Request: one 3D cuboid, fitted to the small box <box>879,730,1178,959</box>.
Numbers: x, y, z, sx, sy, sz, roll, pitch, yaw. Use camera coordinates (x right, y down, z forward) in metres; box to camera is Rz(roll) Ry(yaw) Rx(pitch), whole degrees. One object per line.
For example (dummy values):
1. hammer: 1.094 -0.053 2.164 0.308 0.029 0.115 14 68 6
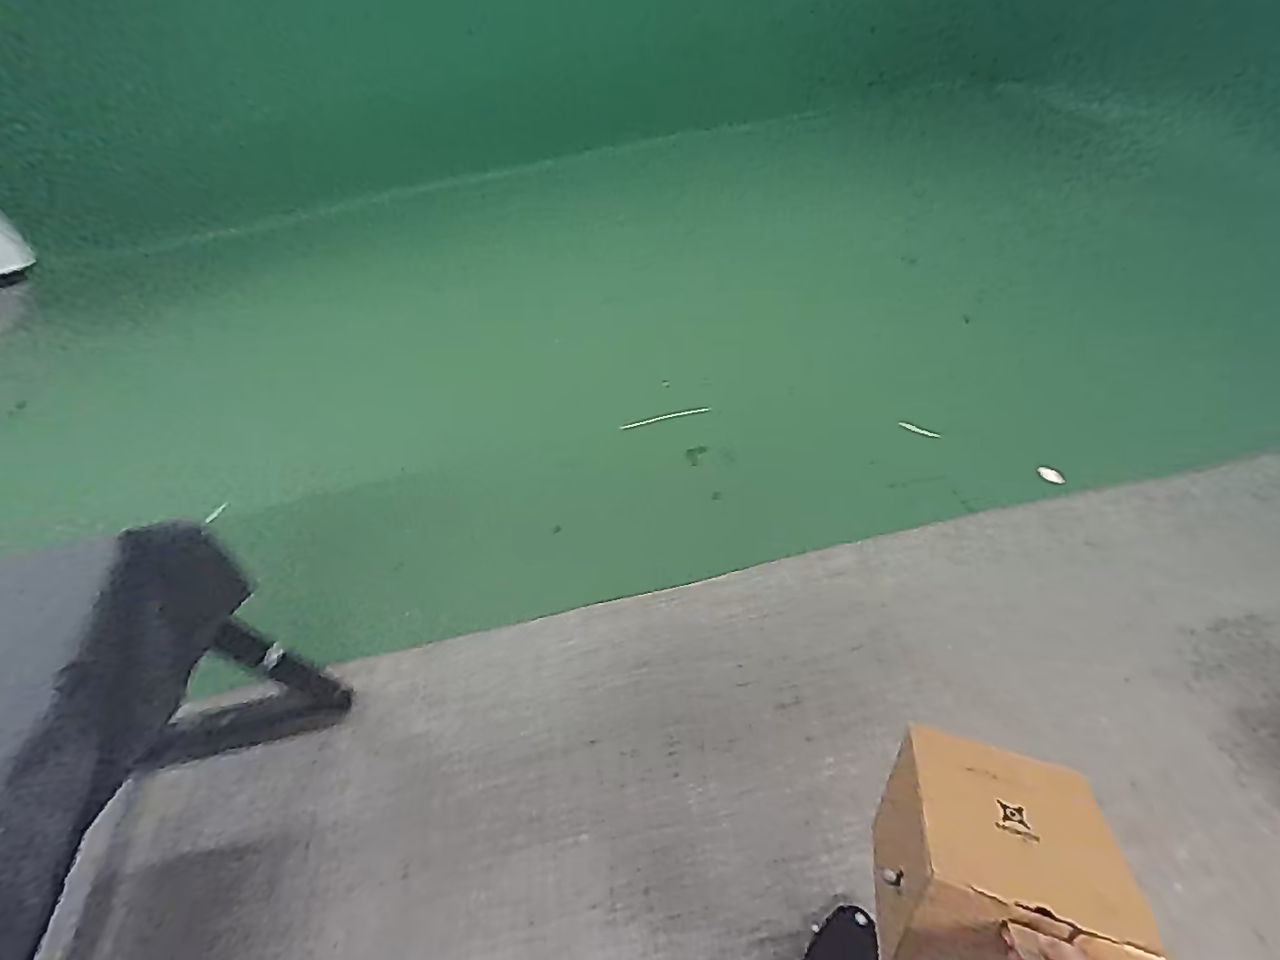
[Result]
1. small box: 0.338 0.389 0.516 0.168 0.176 0.179 13 22 16
